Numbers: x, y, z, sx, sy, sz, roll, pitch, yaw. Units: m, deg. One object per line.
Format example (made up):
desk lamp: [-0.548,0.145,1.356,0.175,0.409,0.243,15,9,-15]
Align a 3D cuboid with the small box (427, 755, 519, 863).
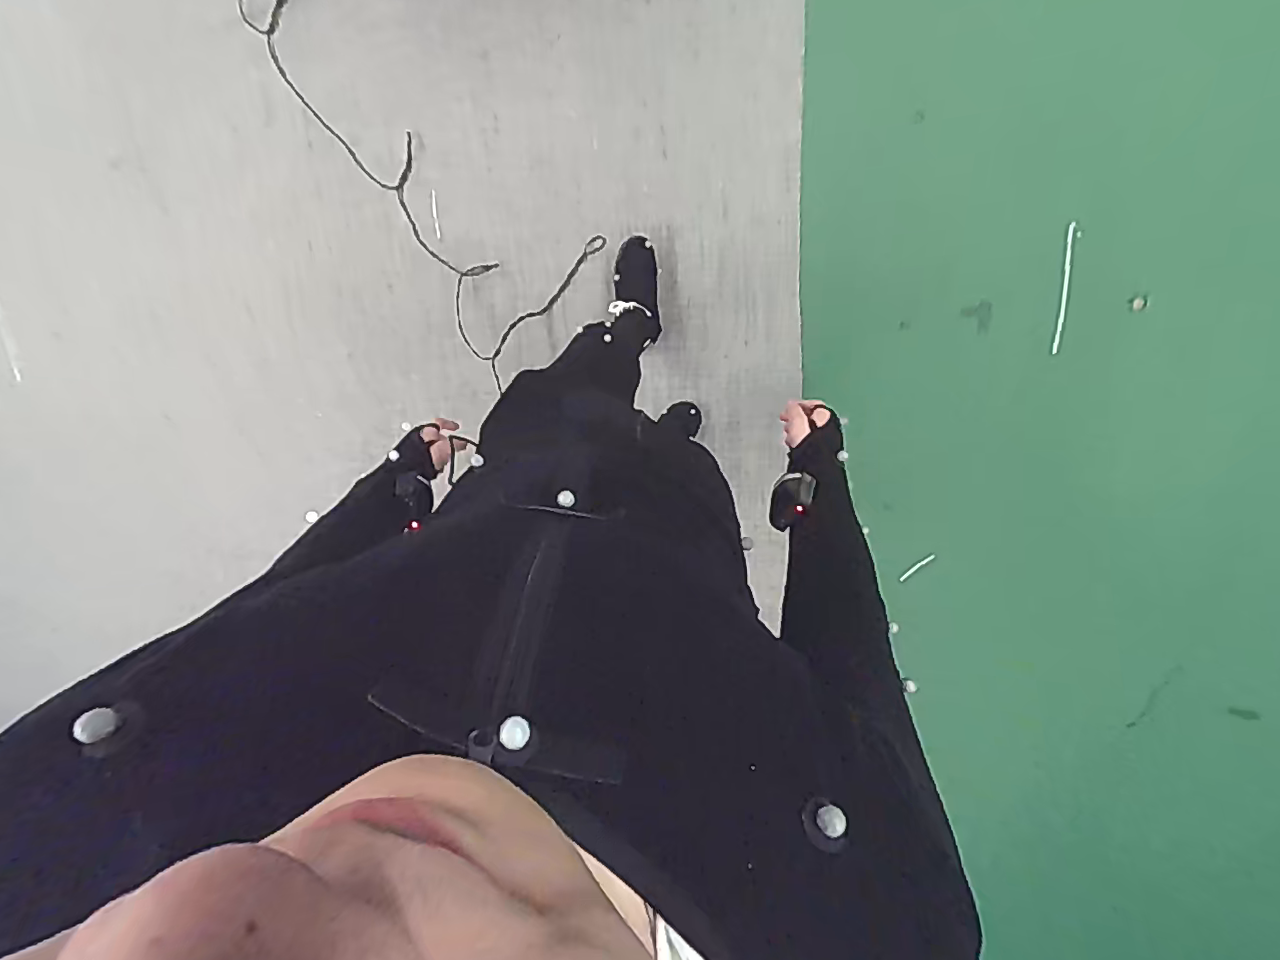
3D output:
small box: [-0.408,0.809,1.352,0.179,0.176,0.168,4,103,6]
